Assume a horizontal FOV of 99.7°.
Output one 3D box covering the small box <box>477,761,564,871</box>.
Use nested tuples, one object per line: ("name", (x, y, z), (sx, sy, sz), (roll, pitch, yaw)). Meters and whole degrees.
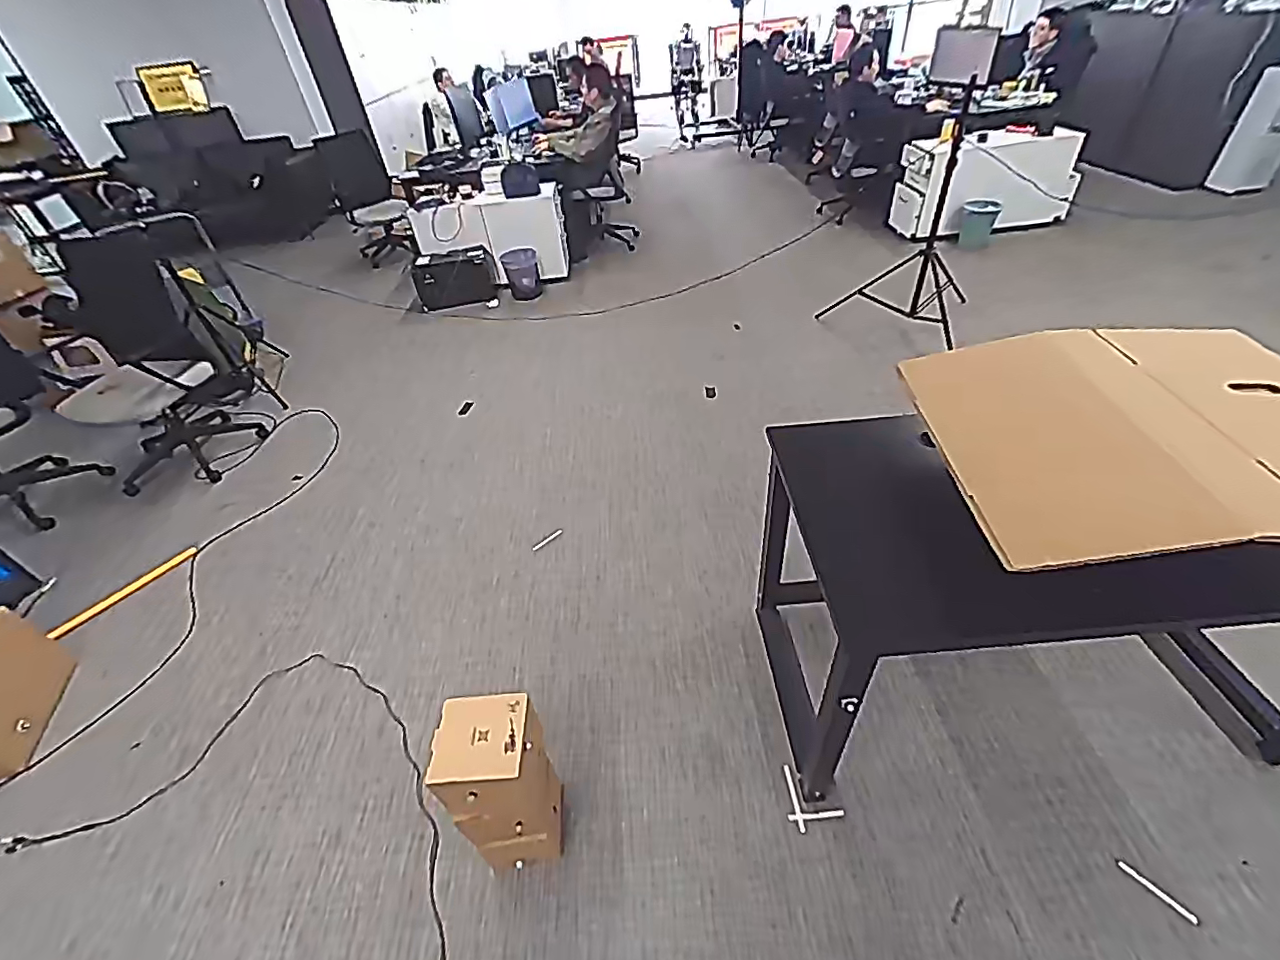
("small box", (-0.281, 0.813, 1.311), (0.168, 0.176, 0.179), (-8, 41, -1))

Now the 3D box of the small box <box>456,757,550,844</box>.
("small box", (-0.299, 0.688, 1.211), (0.168, 0.176, 0.179), (-9, 39, -5))

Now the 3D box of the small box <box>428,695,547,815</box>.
("small box", (-0.300, 0.563, 1.102), (0.179, 0.176, 0.168), (-6, 40, 2))
